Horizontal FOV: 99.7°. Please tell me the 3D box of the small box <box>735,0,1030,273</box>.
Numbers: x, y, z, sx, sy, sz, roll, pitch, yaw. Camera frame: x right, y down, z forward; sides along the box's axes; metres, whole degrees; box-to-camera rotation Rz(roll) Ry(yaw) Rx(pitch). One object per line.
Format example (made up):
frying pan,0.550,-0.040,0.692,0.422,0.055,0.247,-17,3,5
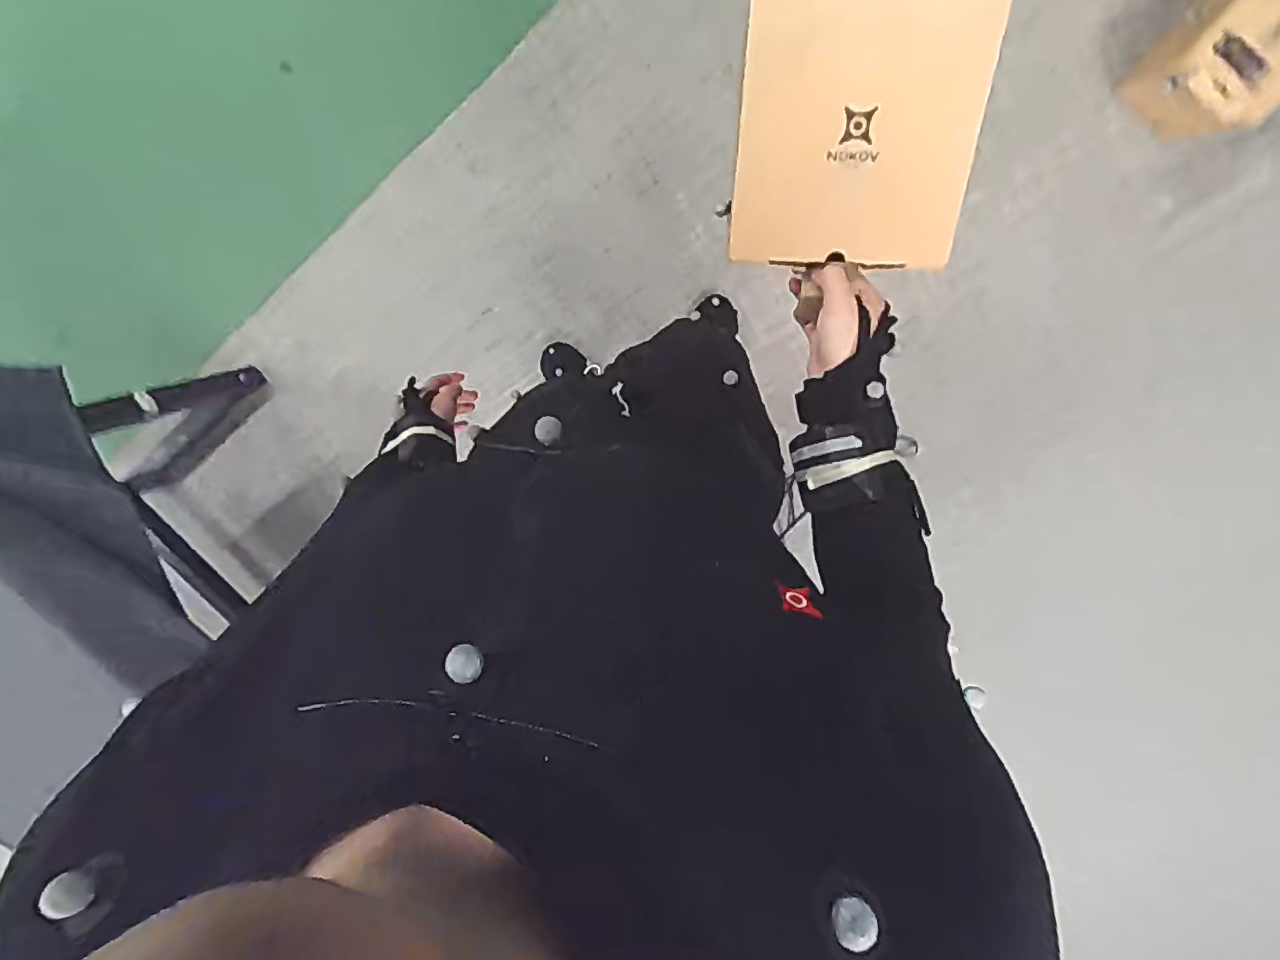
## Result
small box,0.170,-0.274,0.449,0.168,0.176,0.179,5,116,6
